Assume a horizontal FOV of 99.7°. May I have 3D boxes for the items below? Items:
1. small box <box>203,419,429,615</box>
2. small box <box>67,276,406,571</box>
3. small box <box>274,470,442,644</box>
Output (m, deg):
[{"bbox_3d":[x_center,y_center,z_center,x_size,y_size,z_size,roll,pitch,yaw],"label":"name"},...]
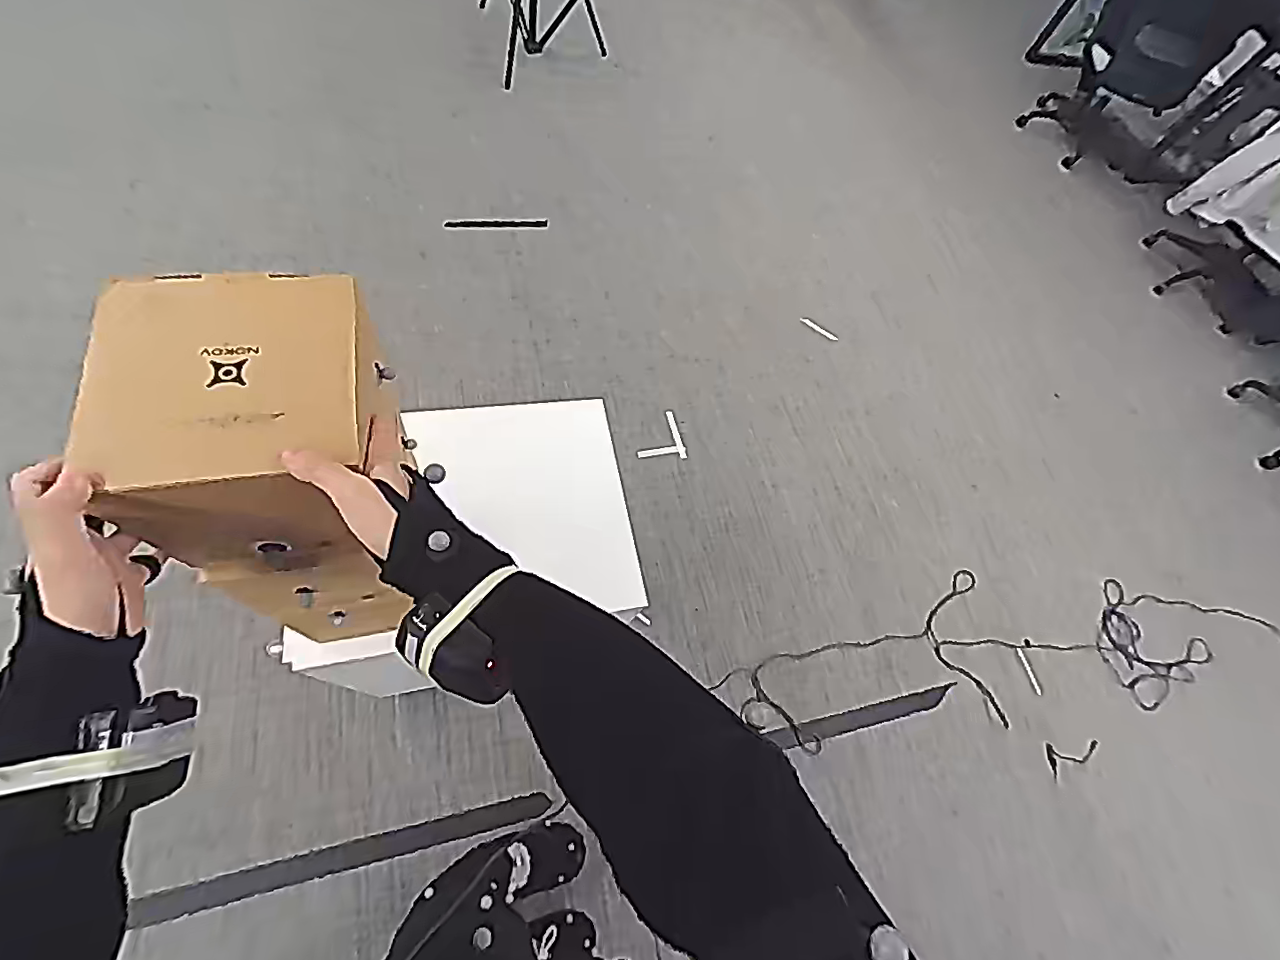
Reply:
[{"bbox_3d":[-0.330,0.038,0.583,0.168,0.176,0.179,-8,66,-17],"label":"small box"},{"bbox_3d":[-0.298,-0.041,0.445,0.168,0.176,0.179,-8,67,-16],"label":"small box"},{"bbox_3d":[-0.366,0.106,0.727,0.168,0.176,0.179,-6,65,-16],"label":"small box"}]
